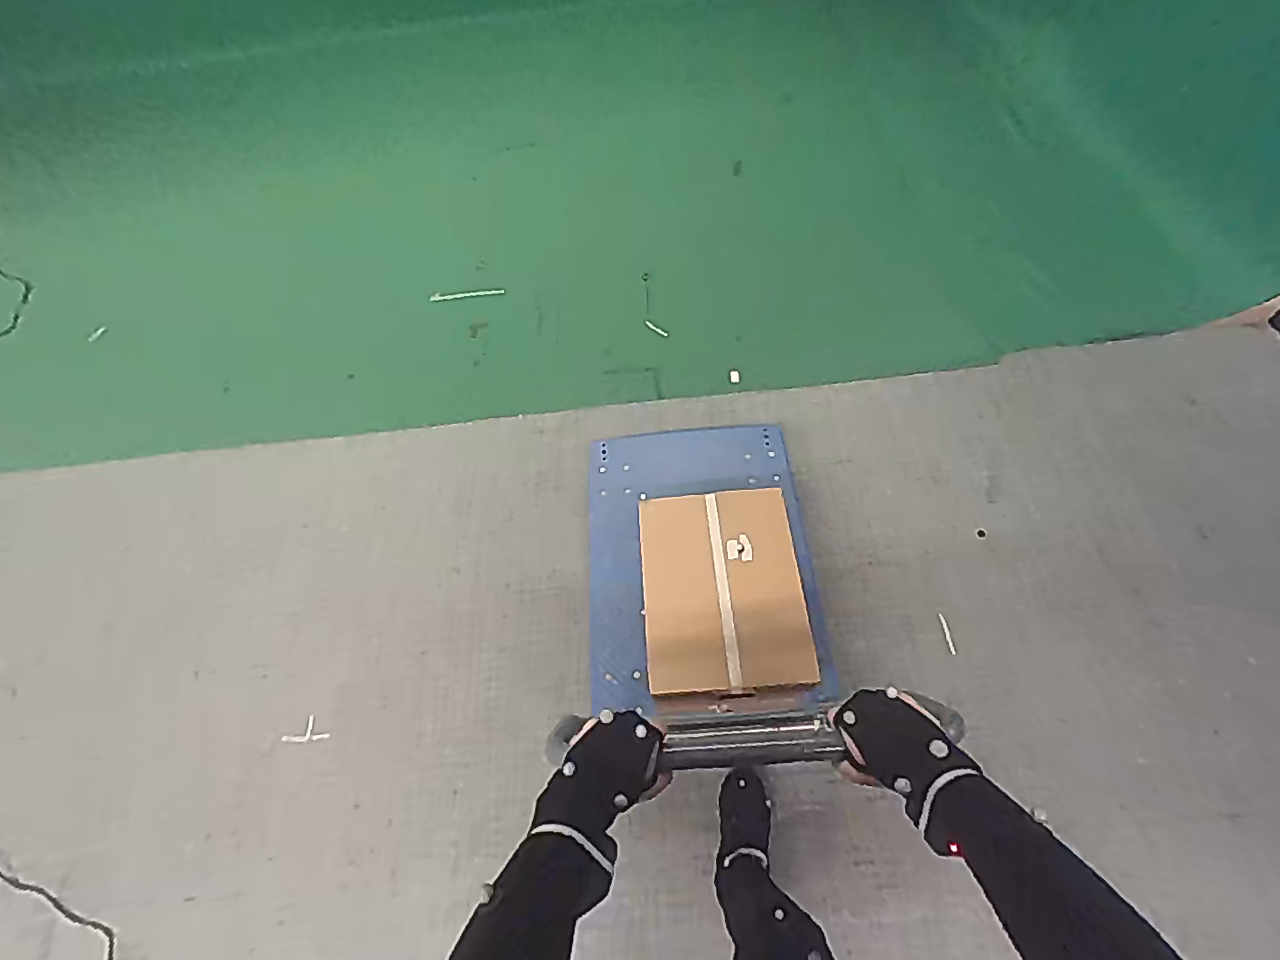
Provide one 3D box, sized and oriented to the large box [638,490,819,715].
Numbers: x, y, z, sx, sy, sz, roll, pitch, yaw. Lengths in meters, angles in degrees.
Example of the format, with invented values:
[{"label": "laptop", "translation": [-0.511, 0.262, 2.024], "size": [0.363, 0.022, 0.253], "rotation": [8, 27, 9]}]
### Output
[{"label": "large box", "translation": [0.176, 0.283, 1.213], "size": [0.320, 0.320, 0.408], "rotation": [-5, 59, 2]}]
